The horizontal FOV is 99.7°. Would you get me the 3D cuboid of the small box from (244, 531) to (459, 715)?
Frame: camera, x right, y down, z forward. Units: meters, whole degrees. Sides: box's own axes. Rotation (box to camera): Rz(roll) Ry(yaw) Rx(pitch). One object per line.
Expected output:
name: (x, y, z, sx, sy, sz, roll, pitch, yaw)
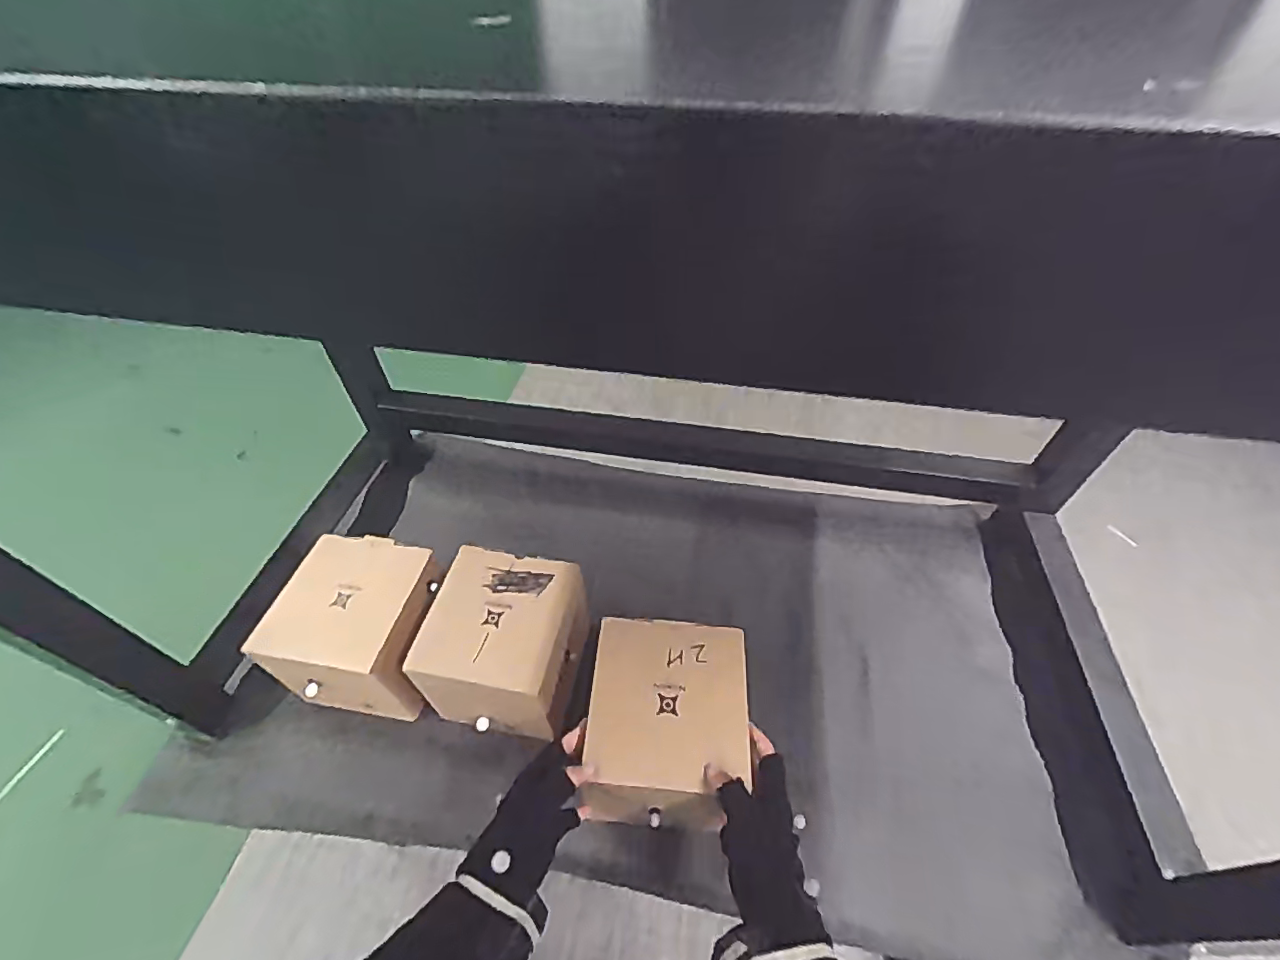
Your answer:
small box: (-0.367, 0.196, 0.733, 0.168, 0.176, 0.179, 7, 48, 7)
